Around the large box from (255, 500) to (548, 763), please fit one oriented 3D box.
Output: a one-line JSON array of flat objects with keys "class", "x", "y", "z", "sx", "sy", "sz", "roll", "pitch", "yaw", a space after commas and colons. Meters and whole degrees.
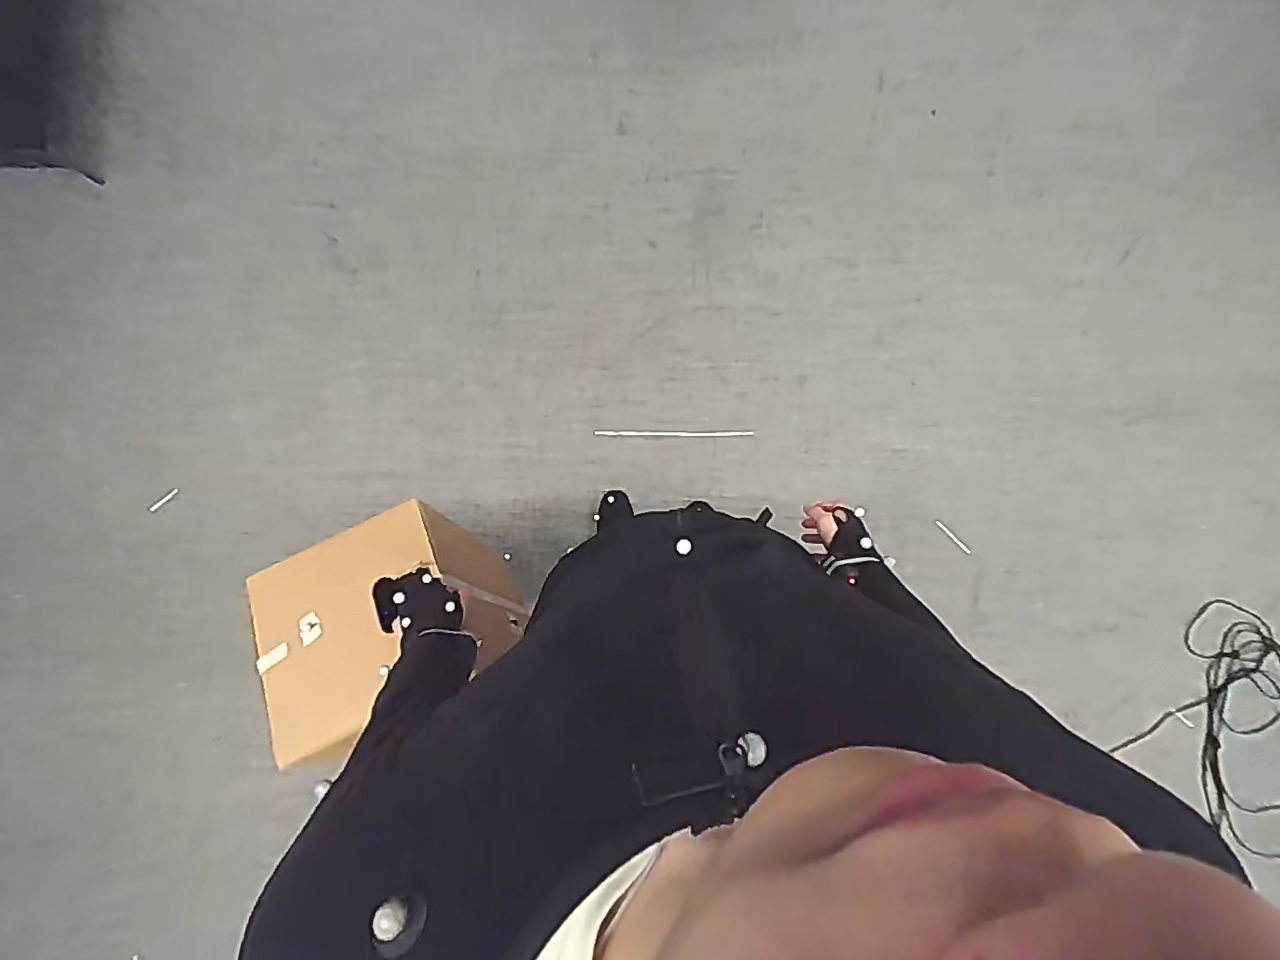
[{"class": "large box", "x": -0.417, "y": 0.290, "z": 1.023, "sx": 0.320, "sy": 0.408, "sz": 0.320, "roll": -25, "pitch": 68, "yaw": -3}]
